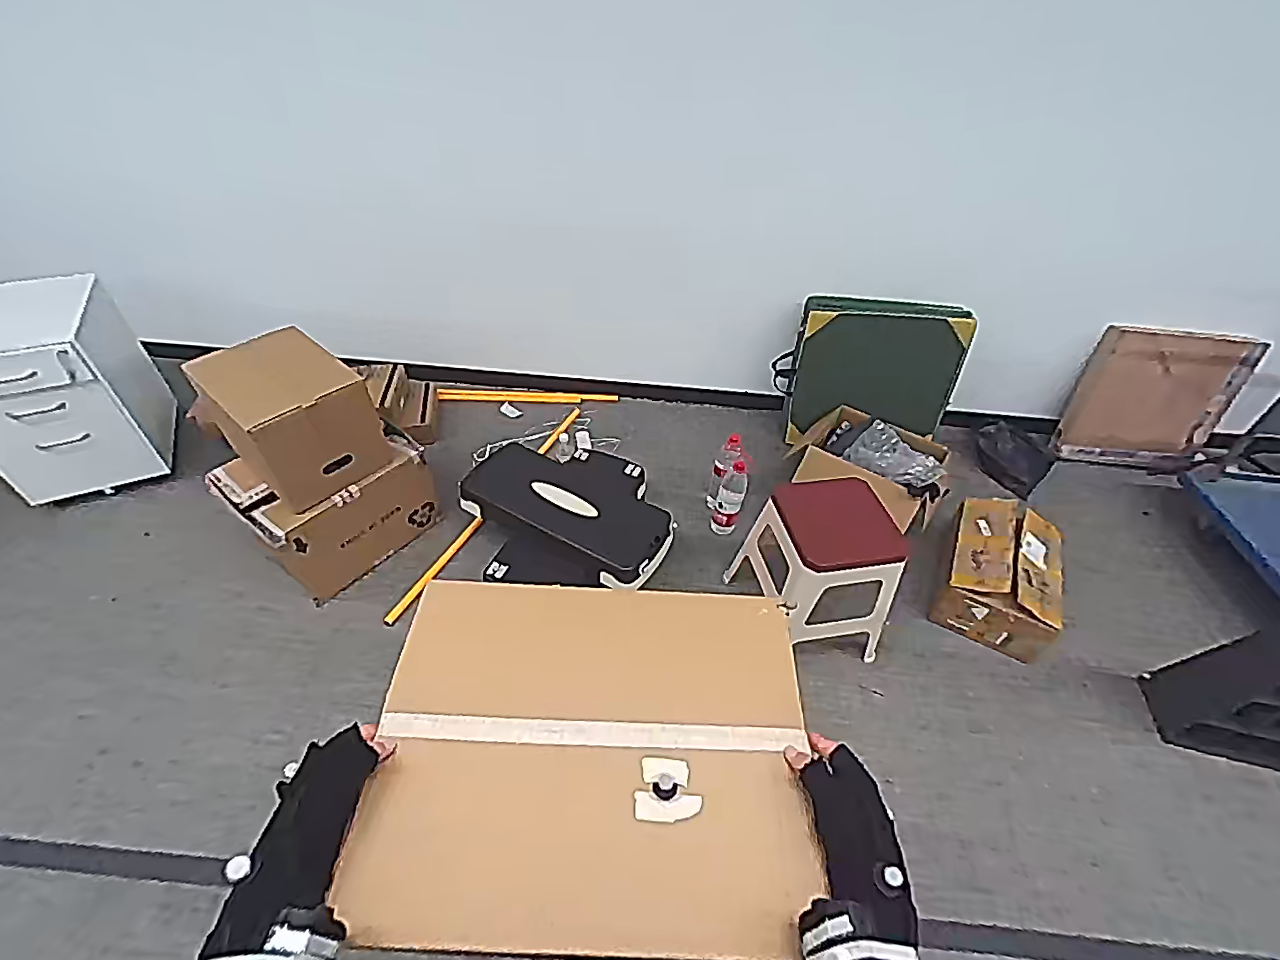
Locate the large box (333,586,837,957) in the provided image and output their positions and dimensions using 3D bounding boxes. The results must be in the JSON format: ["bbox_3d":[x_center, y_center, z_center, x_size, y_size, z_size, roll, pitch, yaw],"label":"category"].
[{"bbox_3d":[-0.047,0.343,0.628,0.408,0.320,0.320,3,48,-1],"label":"large box"}]
